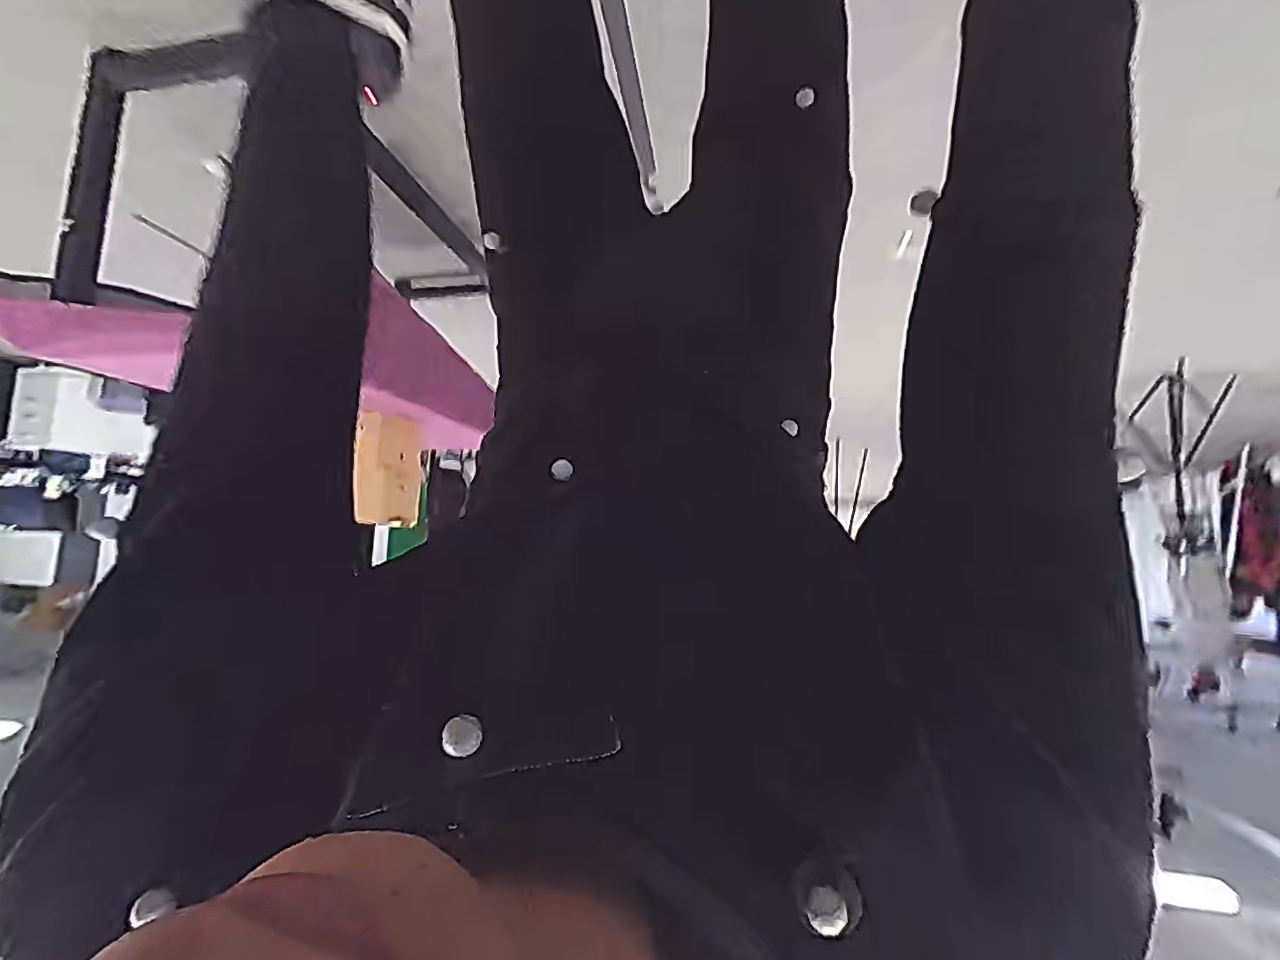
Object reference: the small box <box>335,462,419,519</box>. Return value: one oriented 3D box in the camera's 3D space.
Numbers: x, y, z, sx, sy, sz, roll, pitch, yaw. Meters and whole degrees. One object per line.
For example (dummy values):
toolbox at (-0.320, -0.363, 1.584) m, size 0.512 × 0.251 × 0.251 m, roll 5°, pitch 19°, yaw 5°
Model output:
small box at (-0.819, 0.032, 1.702) m, size 0.179 × 0.176 × 0.168 m, roll 0°, pitch 175°, yaw 16°

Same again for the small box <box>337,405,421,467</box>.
small box at (-0.812, -0.134, 1.694) m, size 0.168 × 0.176 × 0.179 m, roll 0°, pitch 173°, yaw 21°
